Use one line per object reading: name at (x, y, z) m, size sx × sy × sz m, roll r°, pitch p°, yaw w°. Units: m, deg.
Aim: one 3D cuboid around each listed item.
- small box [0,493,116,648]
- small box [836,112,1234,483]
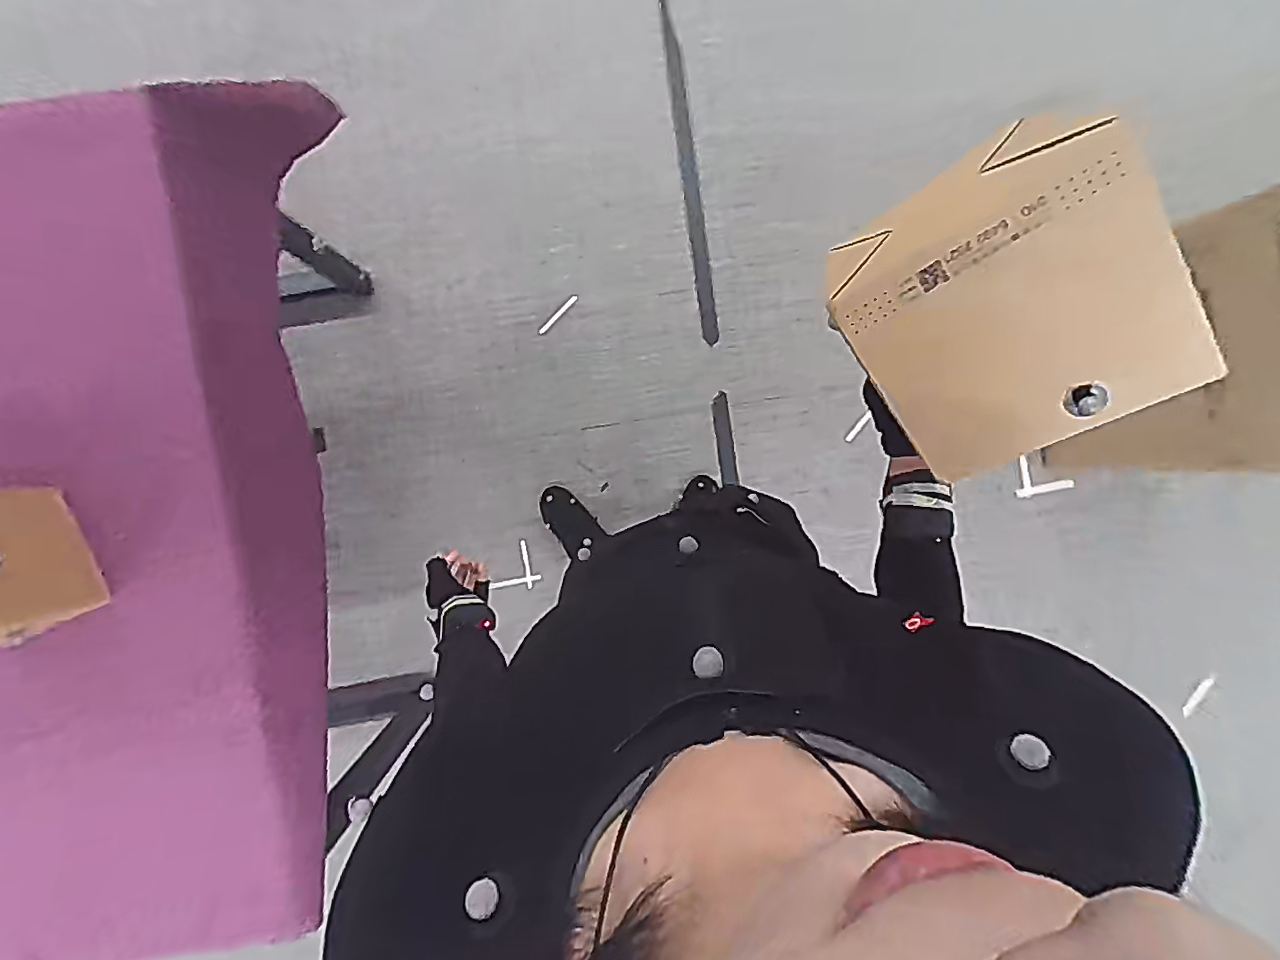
small box at (-0.843, 0.126, 0.690) m, size 0.168 × 0.176 × 0.179 m, roll -24°, pitch 92°, yaw -2°
small box at (0.261, -0.136, 0.398) m, size 0.168 × 0.179 × 0.176 m, roll -29°, pitch 109°, yaw 34°
